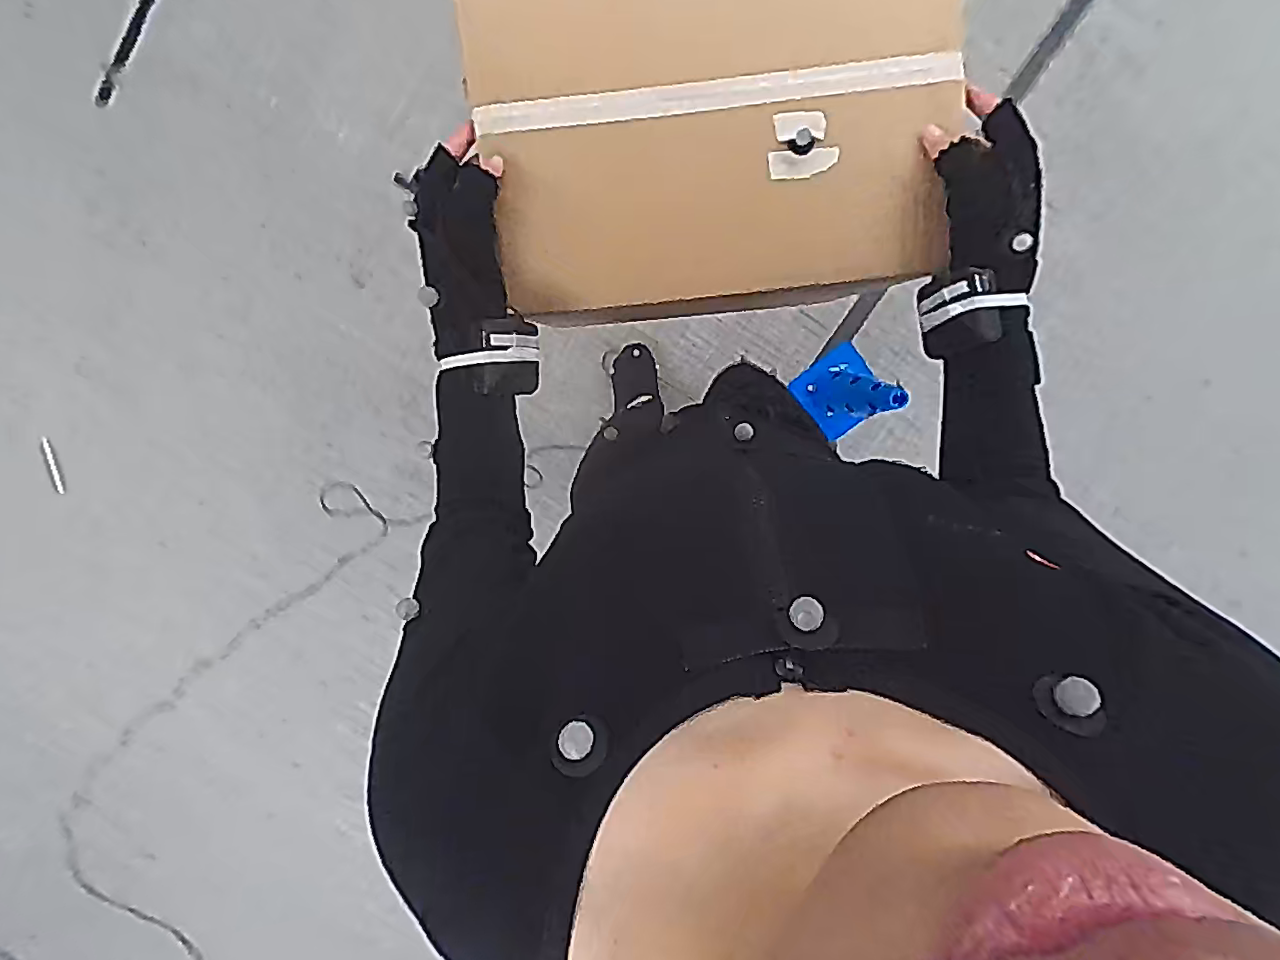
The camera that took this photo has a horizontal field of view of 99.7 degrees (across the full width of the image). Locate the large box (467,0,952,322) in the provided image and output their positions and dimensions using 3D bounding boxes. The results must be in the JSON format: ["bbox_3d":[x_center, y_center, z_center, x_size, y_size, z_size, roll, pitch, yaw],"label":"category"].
[{"bbox_3d":[0.060,-0.364,0.605,0.408,0.320,0.320,-5,104,0],"label":"large box"}]

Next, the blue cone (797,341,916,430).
[{"bbox_3d":[0.527,-0.216,1.261,0.192,0.380,0.193,-36,98,7],"label":"blue cone"}]
